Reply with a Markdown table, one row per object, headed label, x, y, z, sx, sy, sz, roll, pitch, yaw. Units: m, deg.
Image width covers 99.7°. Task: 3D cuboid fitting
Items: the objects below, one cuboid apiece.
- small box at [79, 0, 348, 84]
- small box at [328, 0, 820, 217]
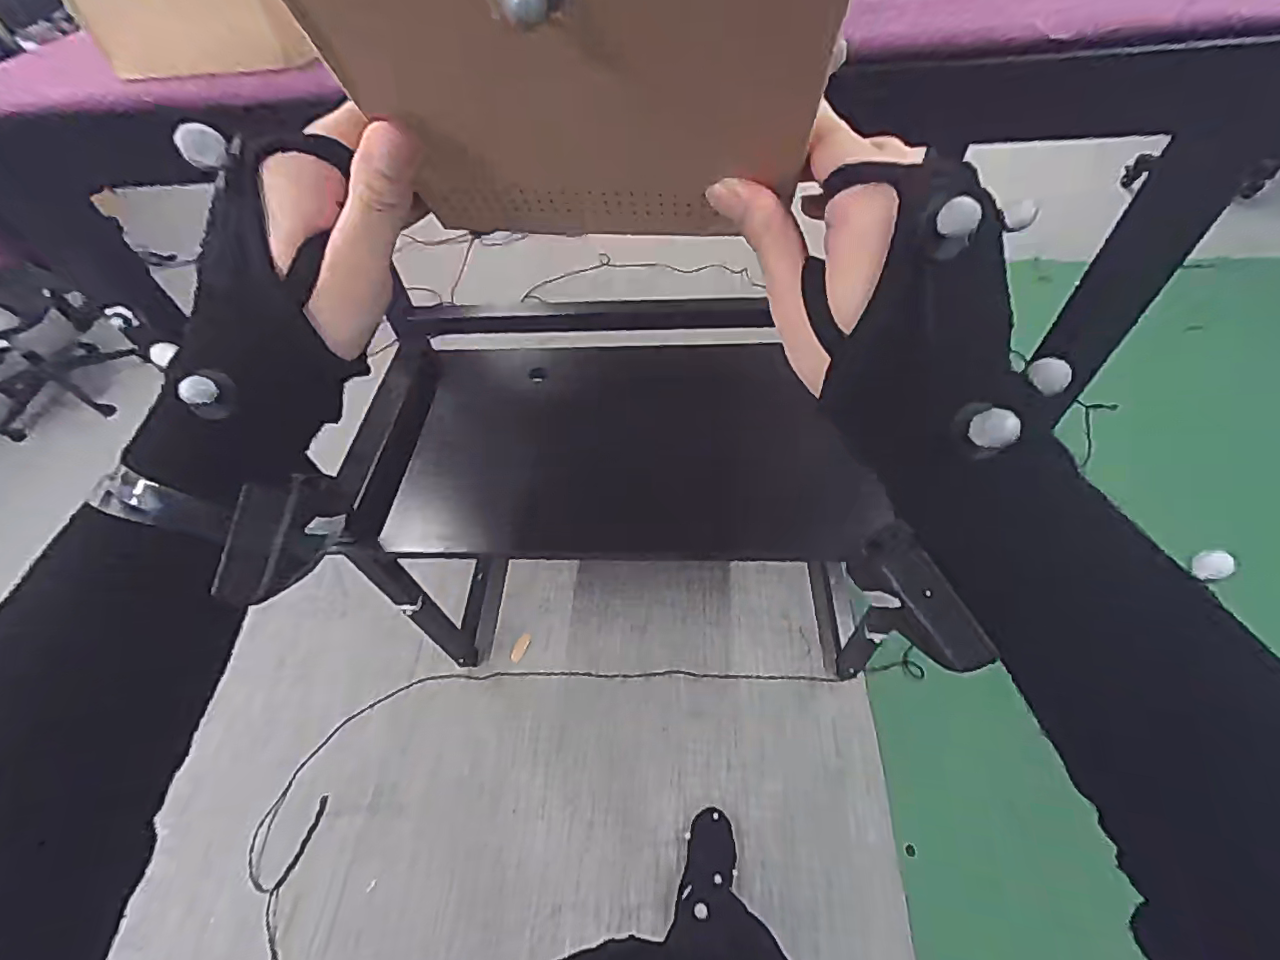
| label | x | y | z | sx | sy | sz | roll | pitch | yaw |
| --- | --- | --- | --- | --- | --- | --- | --- | --- | --- |
| small box | -0.395 | -0.479 | 0.484 | 0.179 | 0.176 | 0.168 | -2 | 51 | 4 |
| small box | -0.018 | -0.225 | 0.205 | 0.179 | 0.176 | 0.168 | 5 | 81 | 6 |
